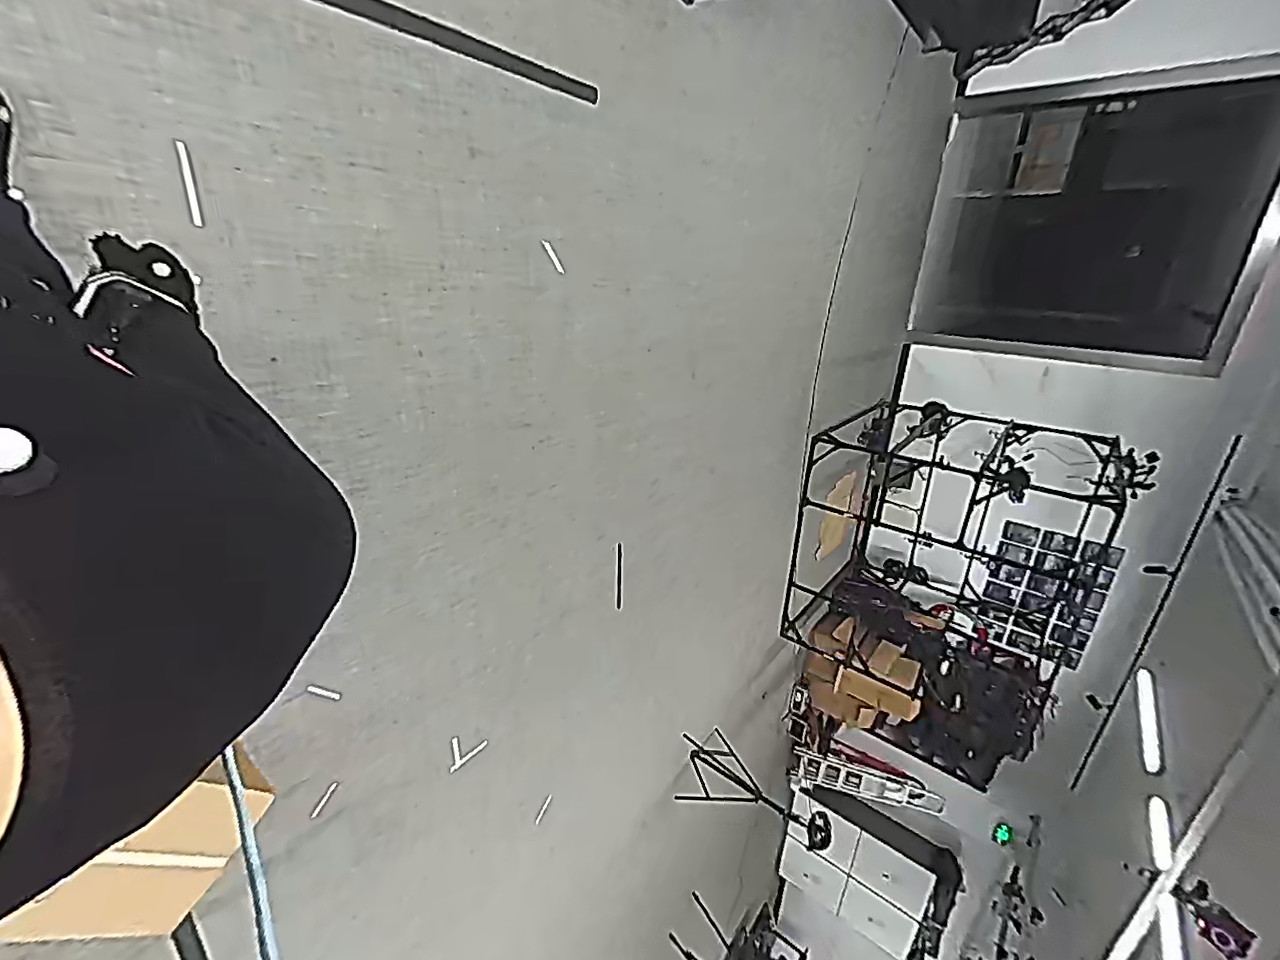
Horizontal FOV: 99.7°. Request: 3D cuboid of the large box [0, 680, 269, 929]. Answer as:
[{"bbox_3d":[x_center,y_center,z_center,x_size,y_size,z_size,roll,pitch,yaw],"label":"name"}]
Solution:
[{"bbox_3d":[-1.139,0.690,1.166,0.320,0.320,0.408,-57,143,-21],"label":"large box"}]
